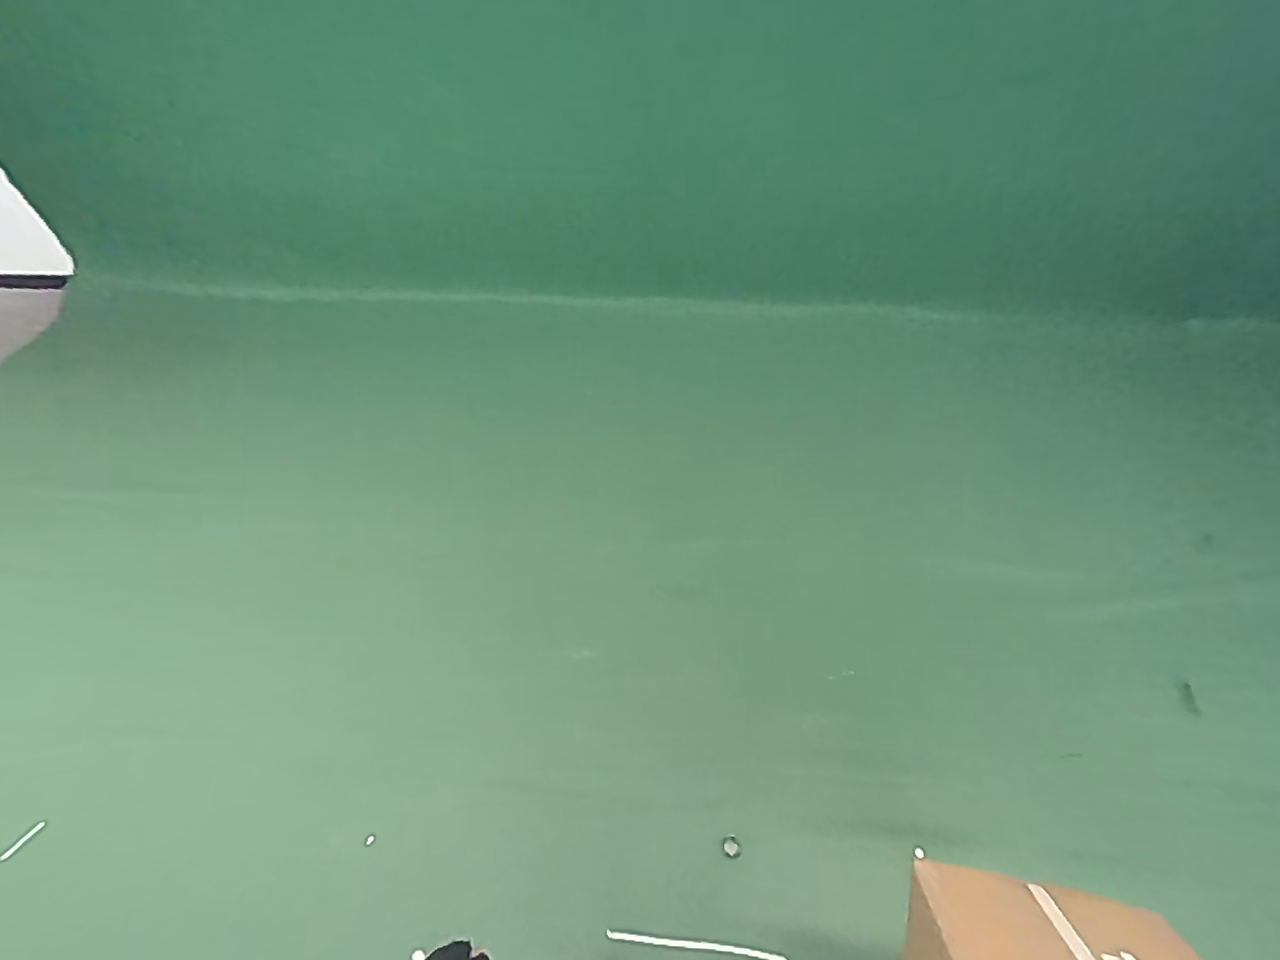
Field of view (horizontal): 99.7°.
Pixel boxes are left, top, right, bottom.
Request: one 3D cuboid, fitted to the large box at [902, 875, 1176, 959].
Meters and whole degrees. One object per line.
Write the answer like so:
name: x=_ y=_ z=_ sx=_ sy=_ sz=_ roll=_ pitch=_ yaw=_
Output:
large box: x=0.490 y=0.736 z=0.571 sx=0.320 sy=0.408 sz=0.320 roll=6 pitch=88 yaw=13
